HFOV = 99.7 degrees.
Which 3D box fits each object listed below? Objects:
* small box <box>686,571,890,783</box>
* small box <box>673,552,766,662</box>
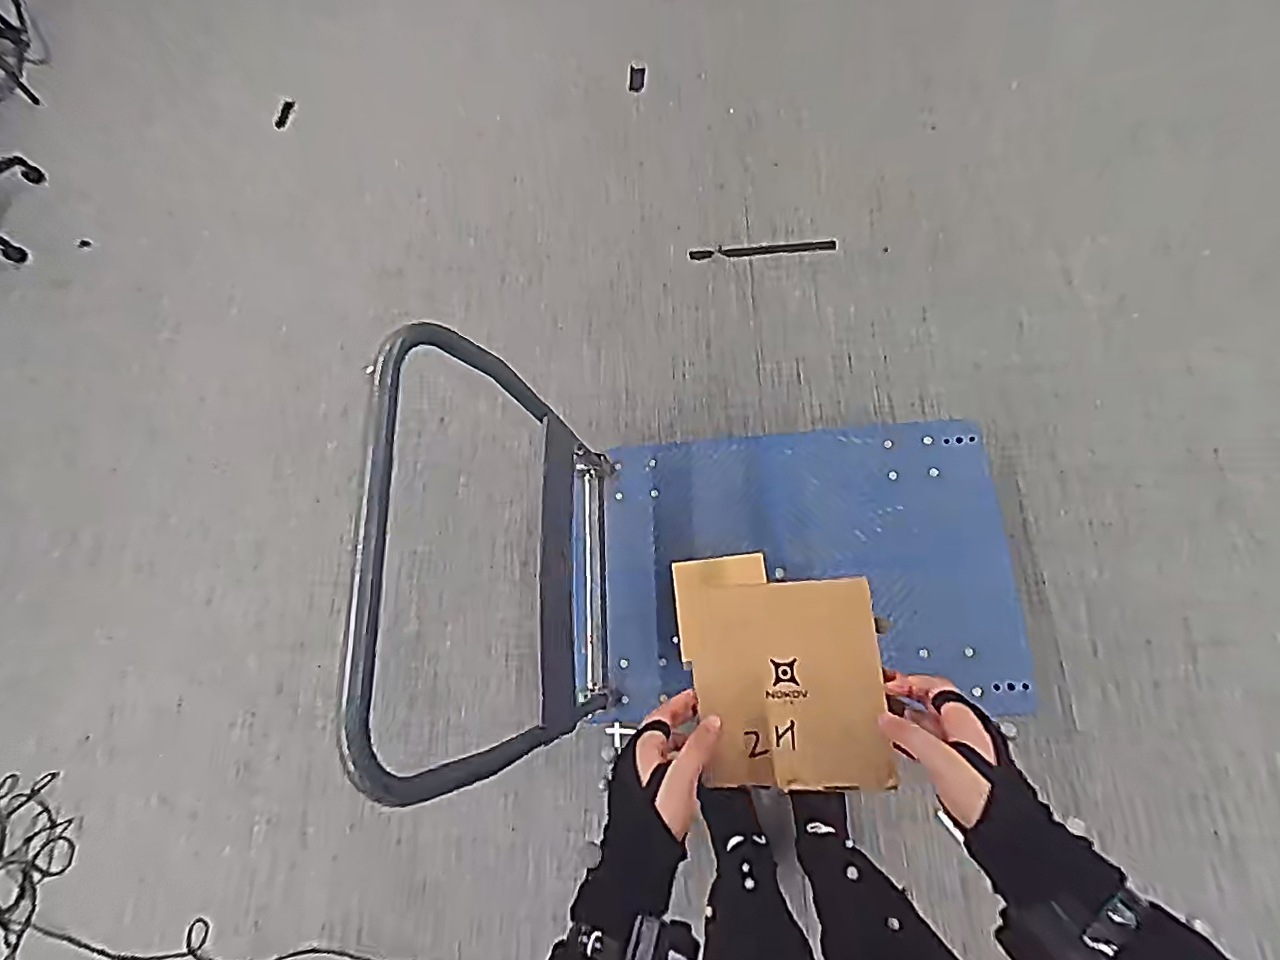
[{"bbox_3d":[0.146,0.191,0.562,0.168,0.176,0.179,-7,77,14],"label":"small box"},{"bbox_3d":[0.156,0.242,1.019,0.168,0.176,0.179,-8,74,7],"label":"small box"}]
